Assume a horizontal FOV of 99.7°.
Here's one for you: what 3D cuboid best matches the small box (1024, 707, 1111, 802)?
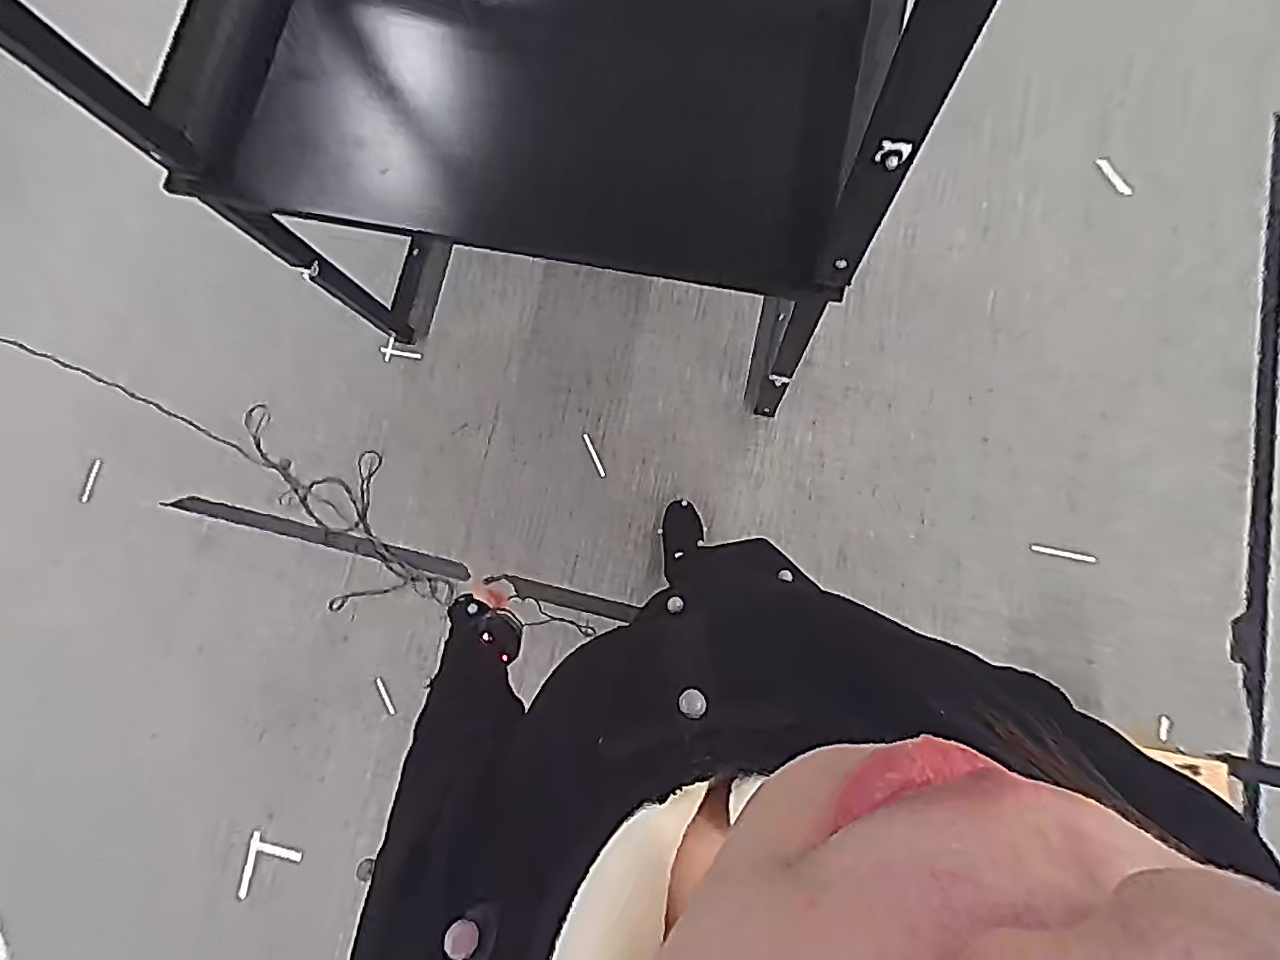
[{"bbox_3d":[1.030,0.641,1.246,0.179,0.176,0.168,14,84,7],"label":"small box"}]

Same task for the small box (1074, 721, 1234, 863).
[{"bbox_3d":[1.016,0.613,1.085,0.168,0.176,0.179,9,83,7],"label":"small box"}]
